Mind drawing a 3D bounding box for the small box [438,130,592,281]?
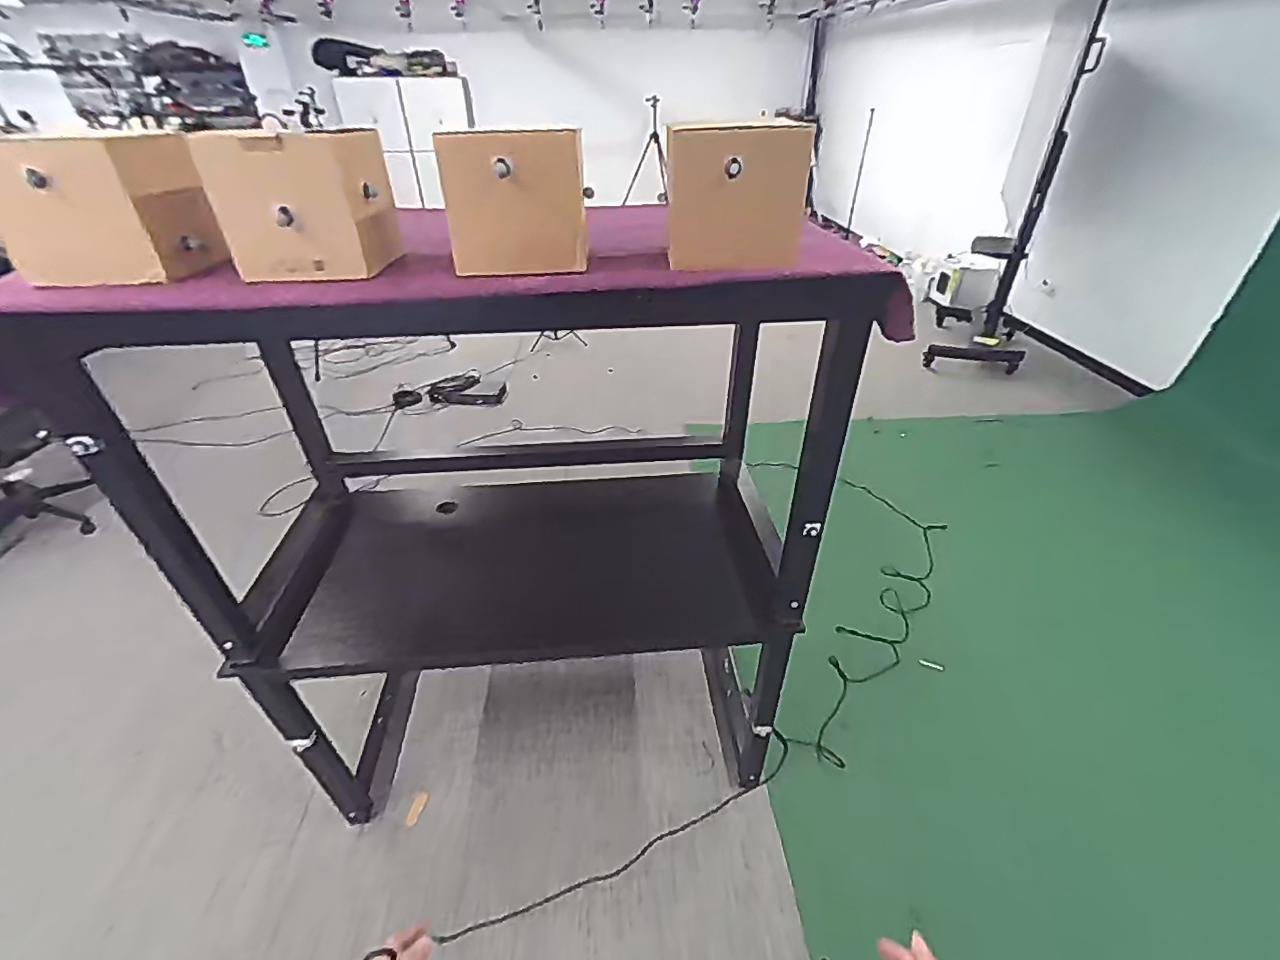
[{"bbox_3d":[-0.159,-0.388,0.761,0.179,0.176,0.168,-3,34,-2],"label":"small box"}]

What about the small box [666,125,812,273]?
[{"bbox_3d":[0.128,-0.400,0.770,0.179,0.176,0.168,-1,36,0],"label":"small box"}]

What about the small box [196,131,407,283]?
[{"bbox_3d":[-0.441,-0.376,0.745,0.168,0.176,0.179,-3,34,-4],"label":"small box"}]

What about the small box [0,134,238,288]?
[{"bbox_3d":[-0.701,-0.363,0.728,0.179,0.176,0.168,-2,35,-5],"label":"small box"}]
